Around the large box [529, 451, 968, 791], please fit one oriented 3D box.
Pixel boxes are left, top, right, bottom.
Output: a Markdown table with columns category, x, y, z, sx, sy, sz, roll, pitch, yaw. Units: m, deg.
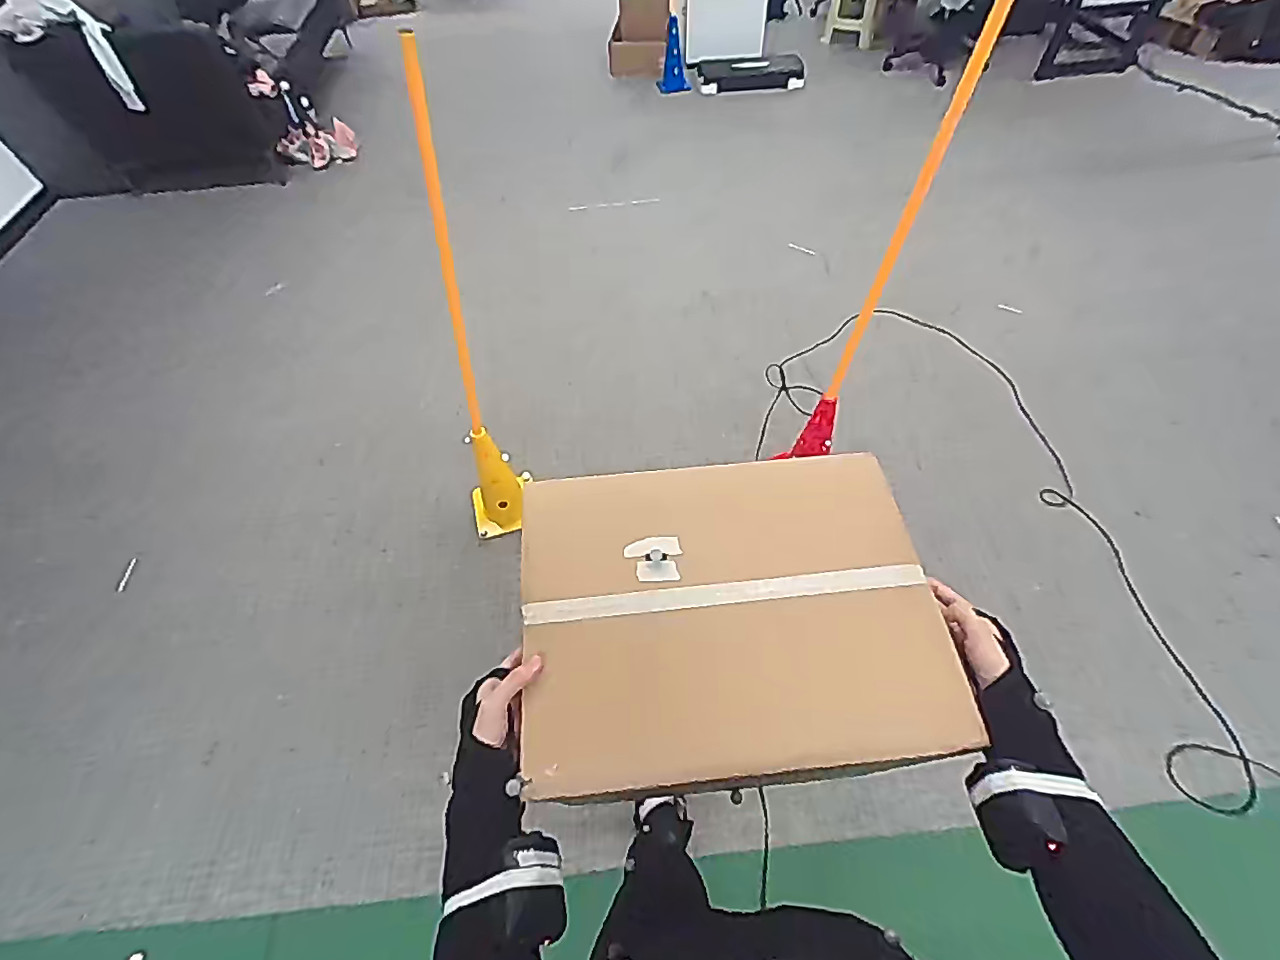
| category | x | y | z | sx | sy | sz | roll | pitch | yaw |
| --- | --- | --- | --- | --- | --- | --- | --- | --- | --- |
| large box | 0.091 | 0.193 | 0.682 | 0.408 | 0.320 | 0.320 | -6 | 58 | -2 |
